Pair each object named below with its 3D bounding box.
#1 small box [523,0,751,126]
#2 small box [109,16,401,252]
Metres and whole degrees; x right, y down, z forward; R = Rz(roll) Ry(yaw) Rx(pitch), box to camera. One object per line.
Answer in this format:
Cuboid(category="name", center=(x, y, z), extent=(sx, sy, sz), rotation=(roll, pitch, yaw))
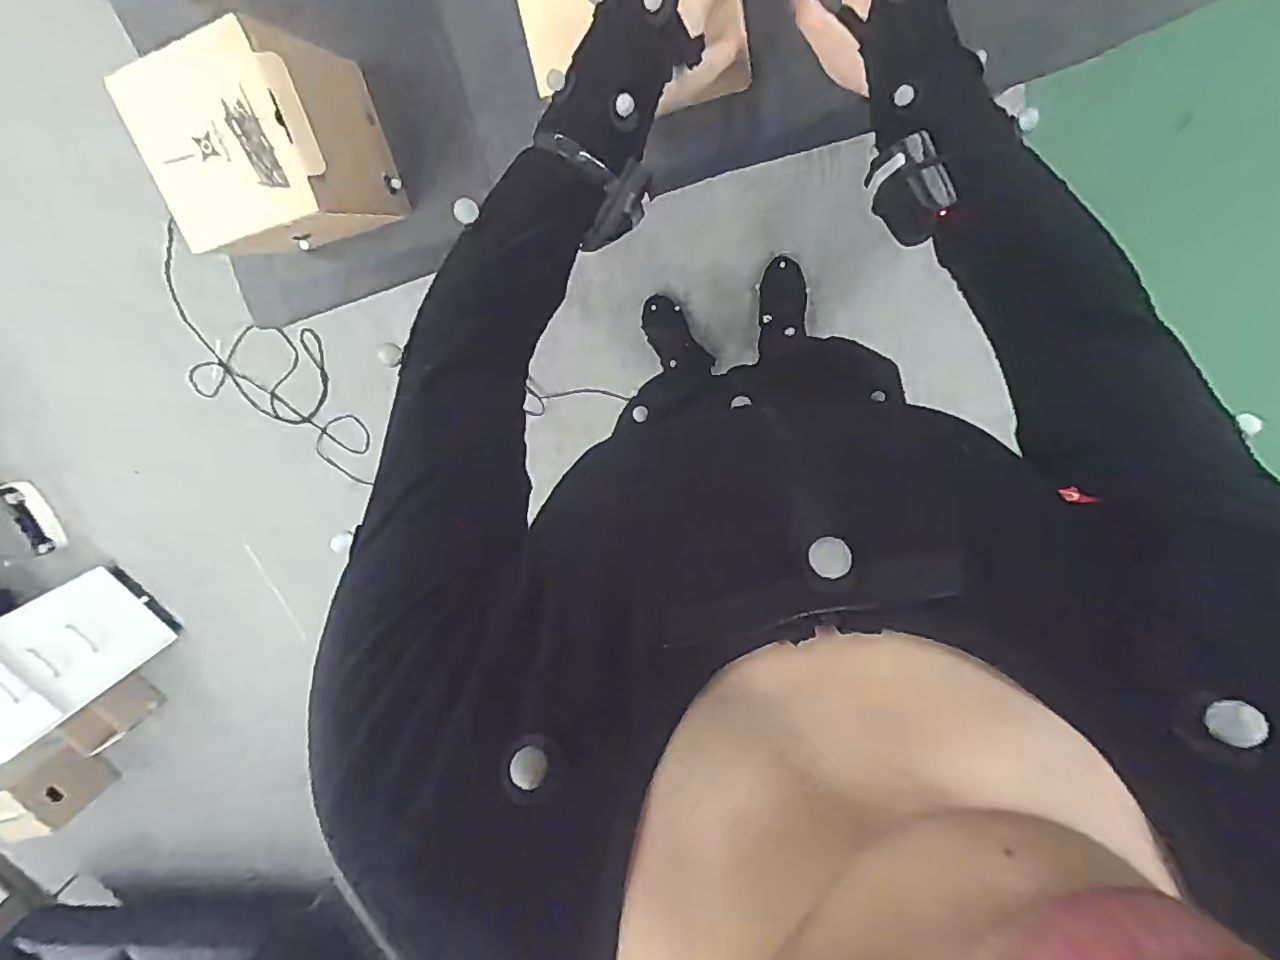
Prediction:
Cuboid(category="small box", center=(0.001, -0.444, 0.485), extent=(0.179, 0.176, 0.168), rotation=(-6, 112, 15))
Cuboid(category="small box", center=(-0.398, -0.363, 0.600), extent=(0.179, 0.176, 0.168), rotation=(-8, 113, 16))
